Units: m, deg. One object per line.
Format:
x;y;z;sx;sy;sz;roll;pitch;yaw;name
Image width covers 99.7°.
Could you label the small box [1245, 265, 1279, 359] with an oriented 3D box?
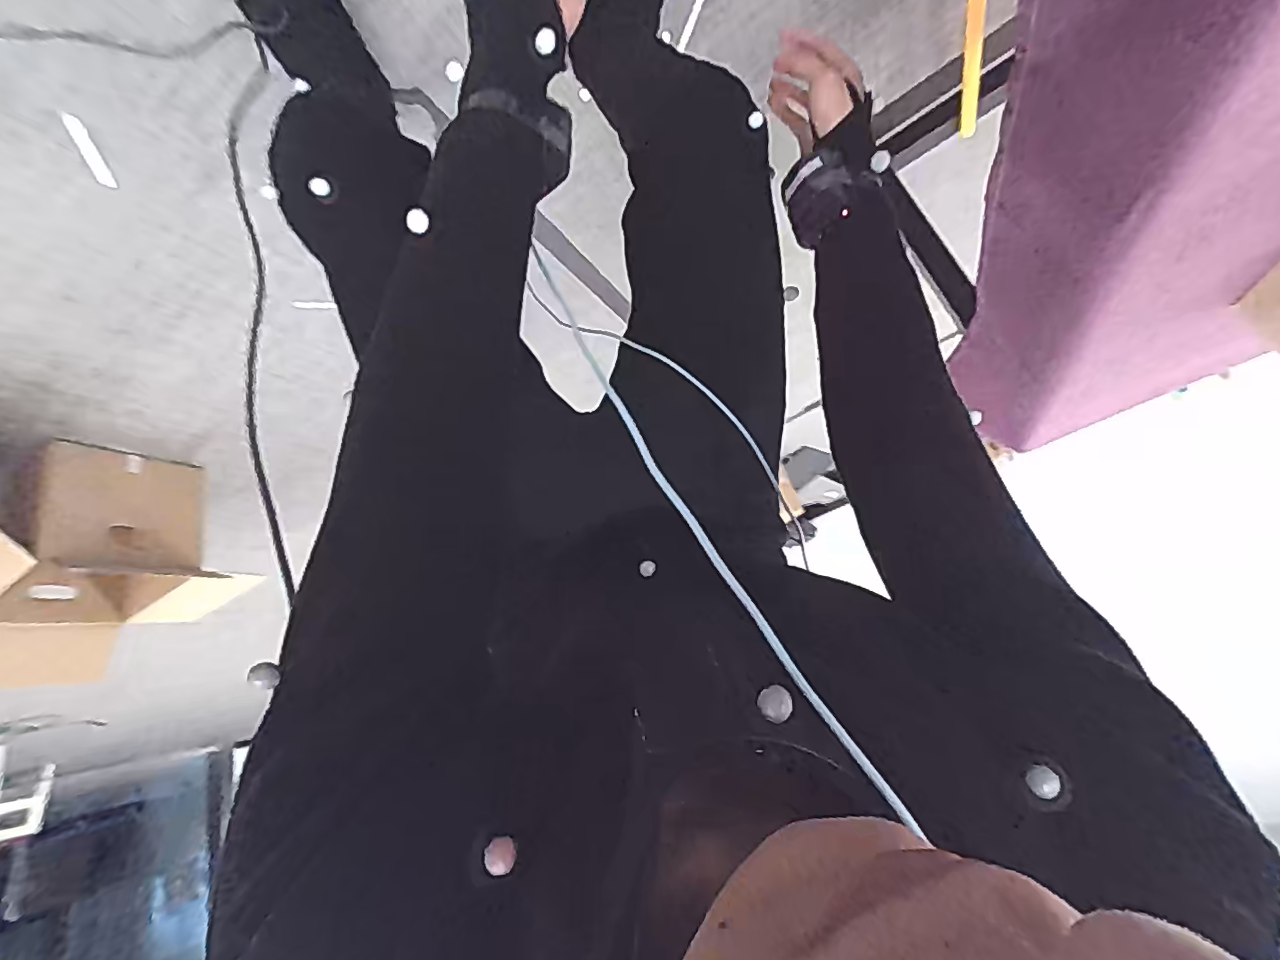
0.710;-0.170;0.471;0.168;0.176;0.179;-26;157;18;small box
